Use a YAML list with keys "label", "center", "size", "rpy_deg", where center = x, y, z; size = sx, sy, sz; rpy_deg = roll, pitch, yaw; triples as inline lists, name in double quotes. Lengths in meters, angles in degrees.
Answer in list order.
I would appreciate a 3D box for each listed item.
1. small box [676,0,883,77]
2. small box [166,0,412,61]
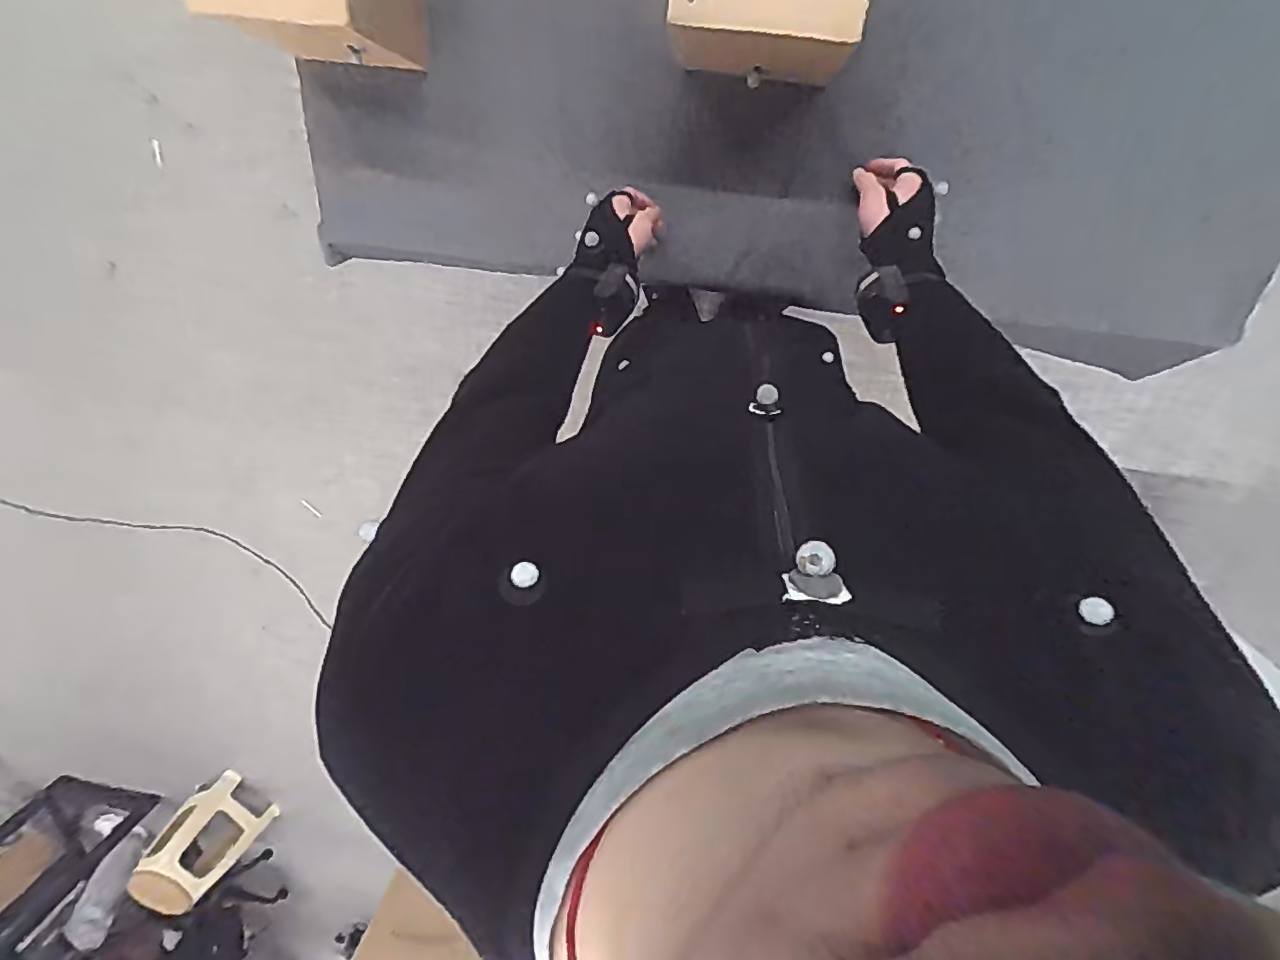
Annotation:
- label: "small box"
  center: [0.133, -0.501, 0.504]
  size: [0.179, 0.176, 0.168]
  rpy_deg: [9, 115, 1]
- label: "small box"
  center: [-0.345, -0.543, 0.538]
  size: [0.179, 0.176, 0.168]
  rpy_deg: [7, 114, 4]
